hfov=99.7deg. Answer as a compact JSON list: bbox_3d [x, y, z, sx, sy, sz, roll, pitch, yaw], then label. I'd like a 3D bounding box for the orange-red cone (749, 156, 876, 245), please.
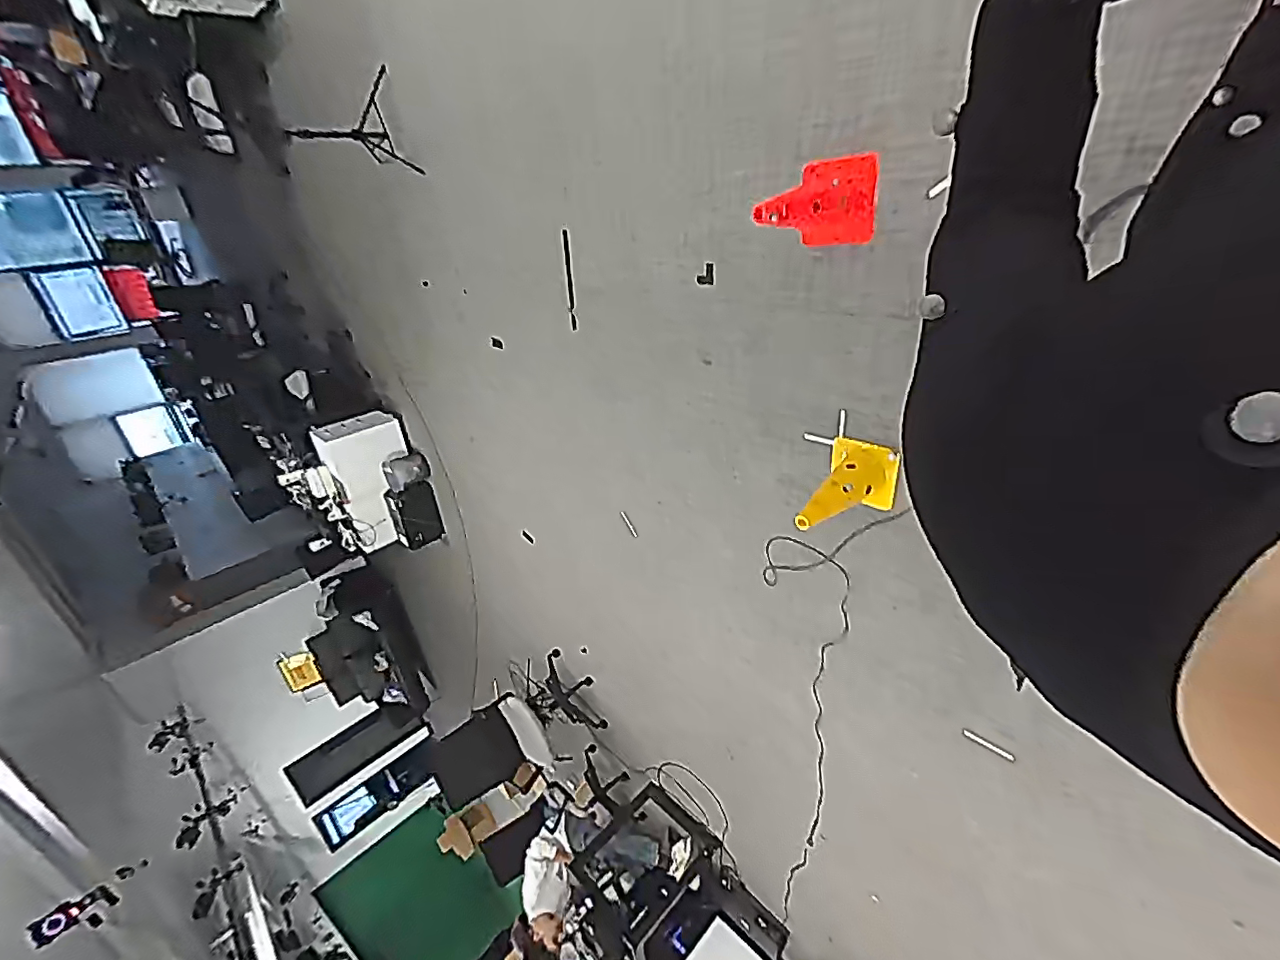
[{"bbox_3d":[0.381,-0.644,1.285,0.198,0.360,0.199,21,129,42],"label":"orange-red cone"}]
